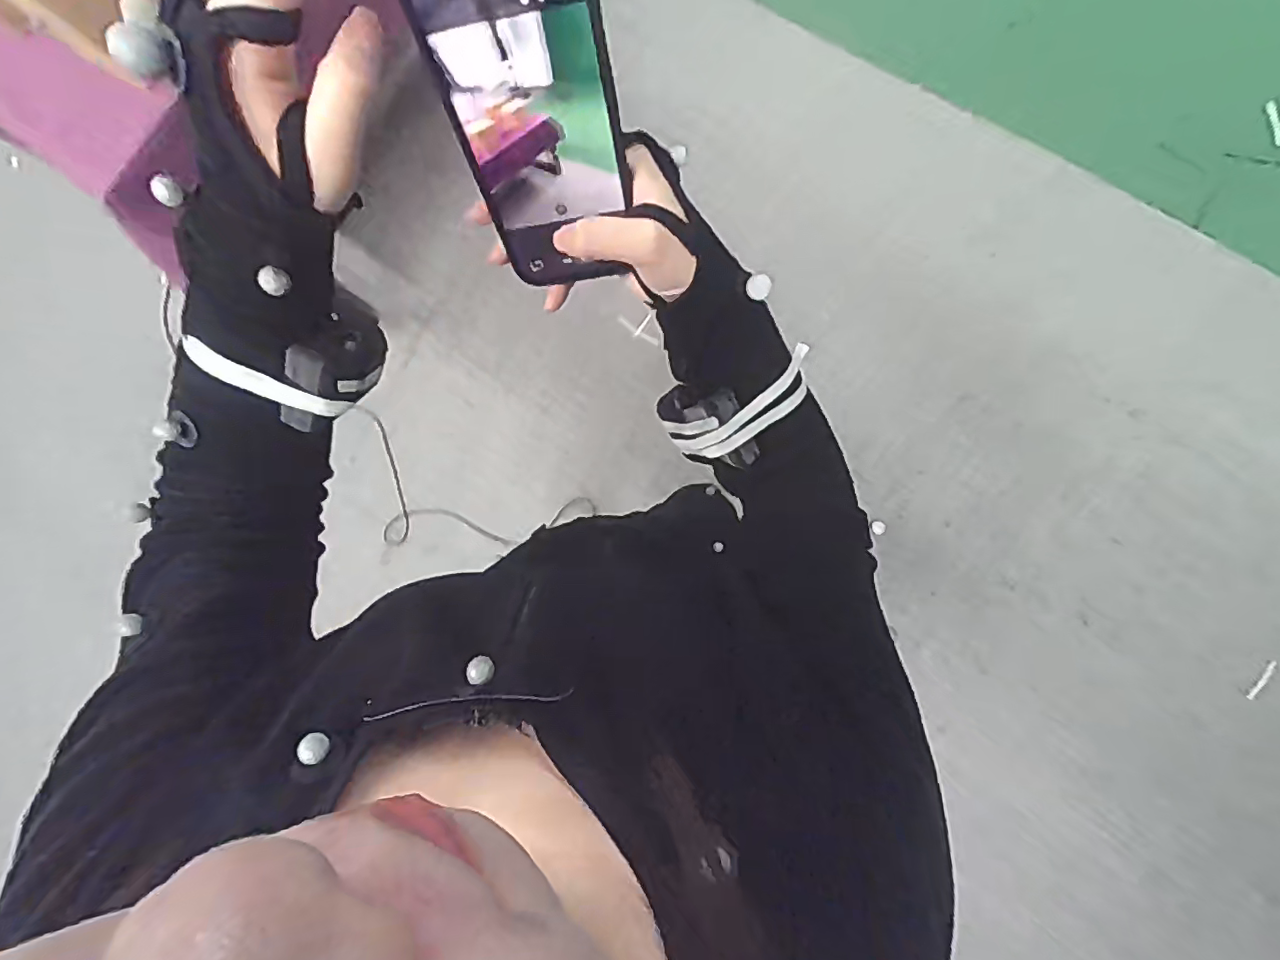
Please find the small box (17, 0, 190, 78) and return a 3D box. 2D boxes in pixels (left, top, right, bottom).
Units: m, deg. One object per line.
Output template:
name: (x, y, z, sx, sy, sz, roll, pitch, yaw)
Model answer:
small box: (-0.864, -0.782, 0.838, 0.168, 0.176, 0.179, 30, 88, 8)
